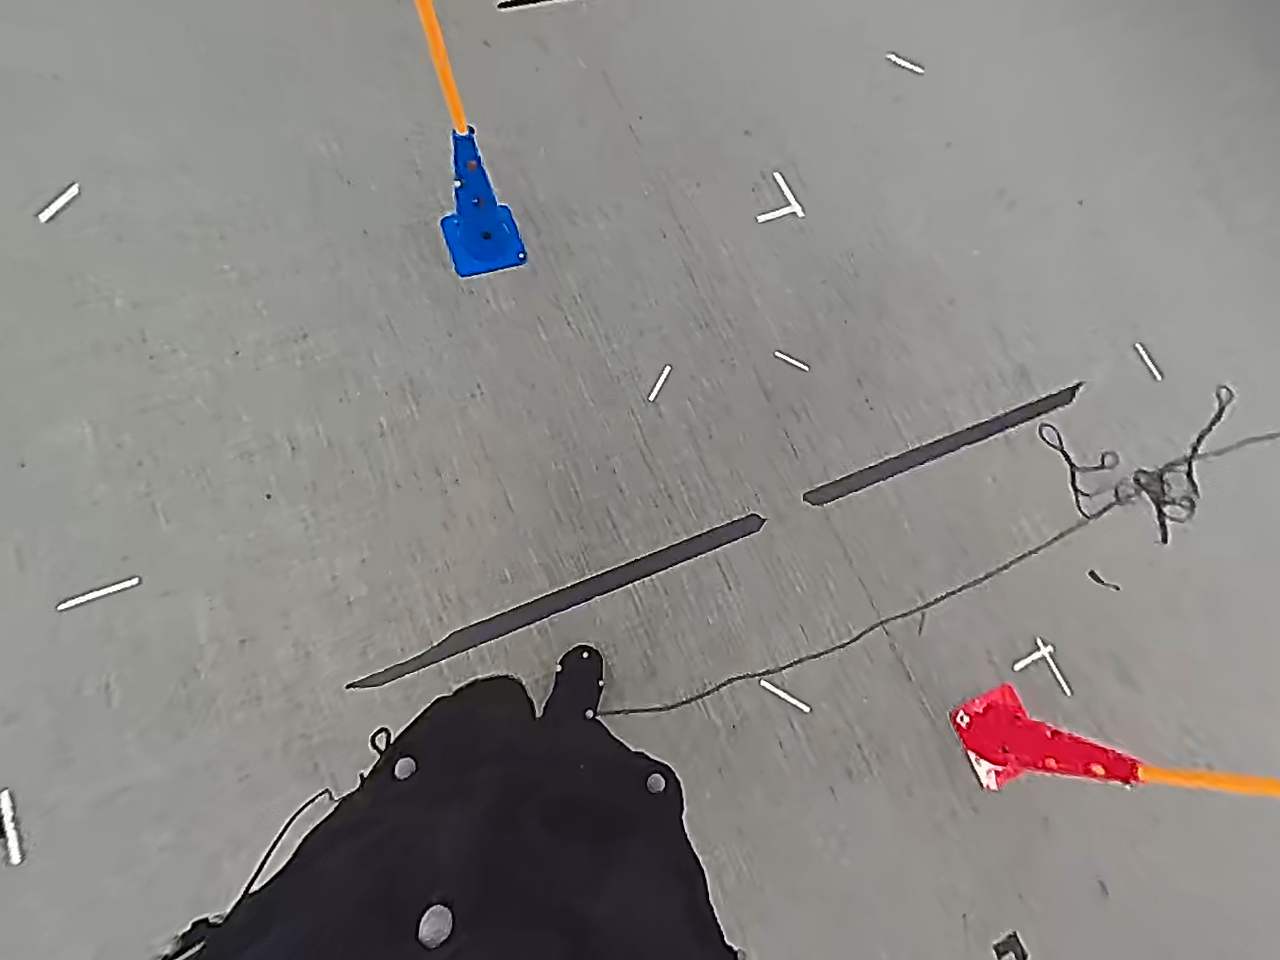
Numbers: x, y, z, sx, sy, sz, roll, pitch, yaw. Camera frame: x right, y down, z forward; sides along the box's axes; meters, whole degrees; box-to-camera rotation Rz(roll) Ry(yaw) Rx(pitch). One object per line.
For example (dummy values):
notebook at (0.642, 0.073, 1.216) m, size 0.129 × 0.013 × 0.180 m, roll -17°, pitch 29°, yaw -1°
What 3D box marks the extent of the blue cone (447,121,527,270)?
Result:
blue cone at (-0.406, -0.719, 1.352) m, size 0.192 × 0.380 × 0.193 m, roll -17°, pitch 79°, yaw -13°
